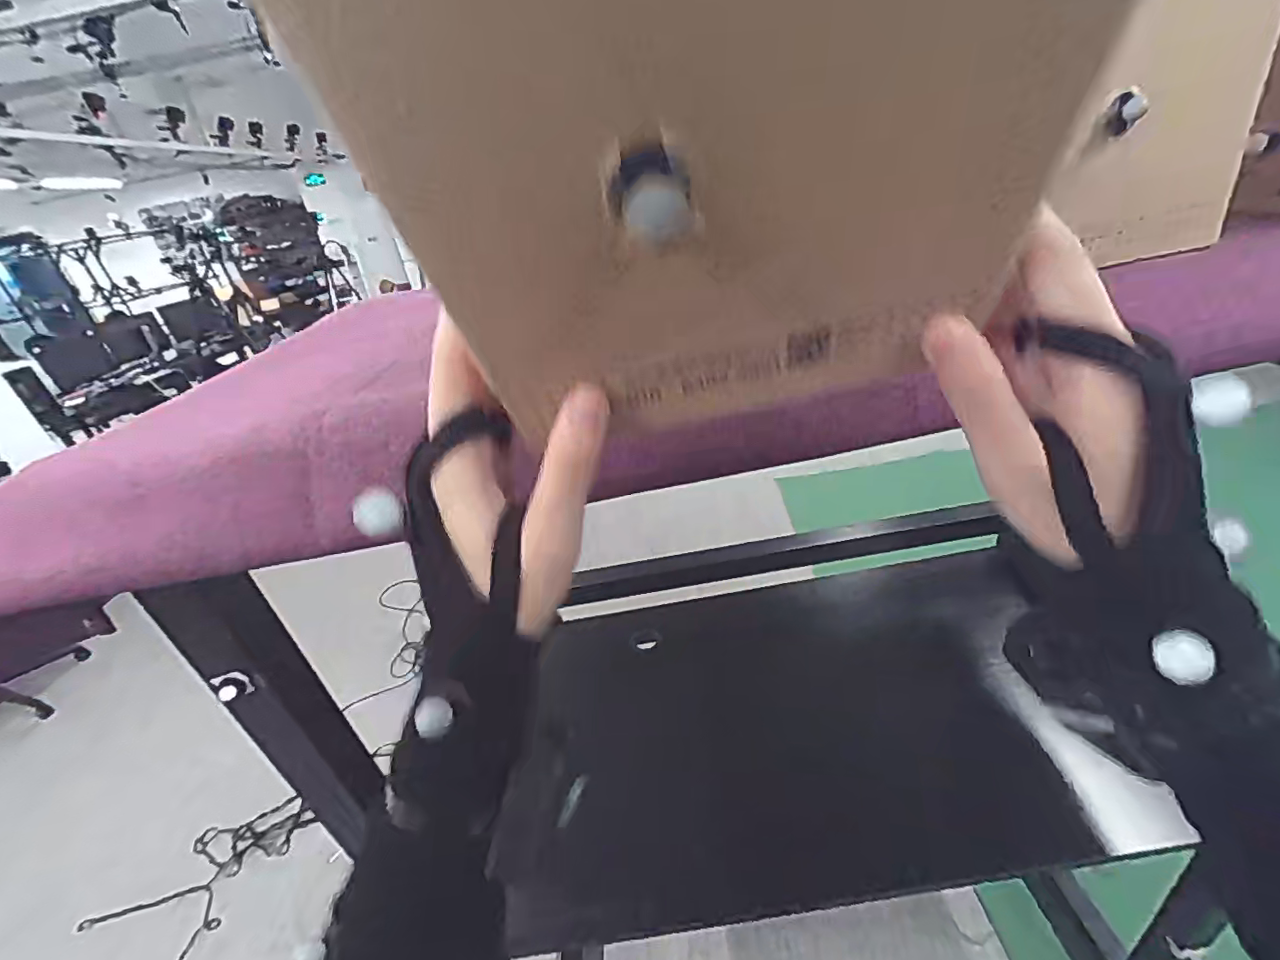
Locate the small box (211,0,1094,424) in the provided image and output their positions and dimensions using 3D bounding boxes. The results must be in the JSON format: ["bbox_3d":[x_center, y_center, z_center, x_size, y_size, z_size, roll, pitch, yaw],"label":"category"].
[{"bbox_3d":[0.012,-0.136,0.174,0.168,0.176,0.179,-12,57,5],"label":"small box"}]
